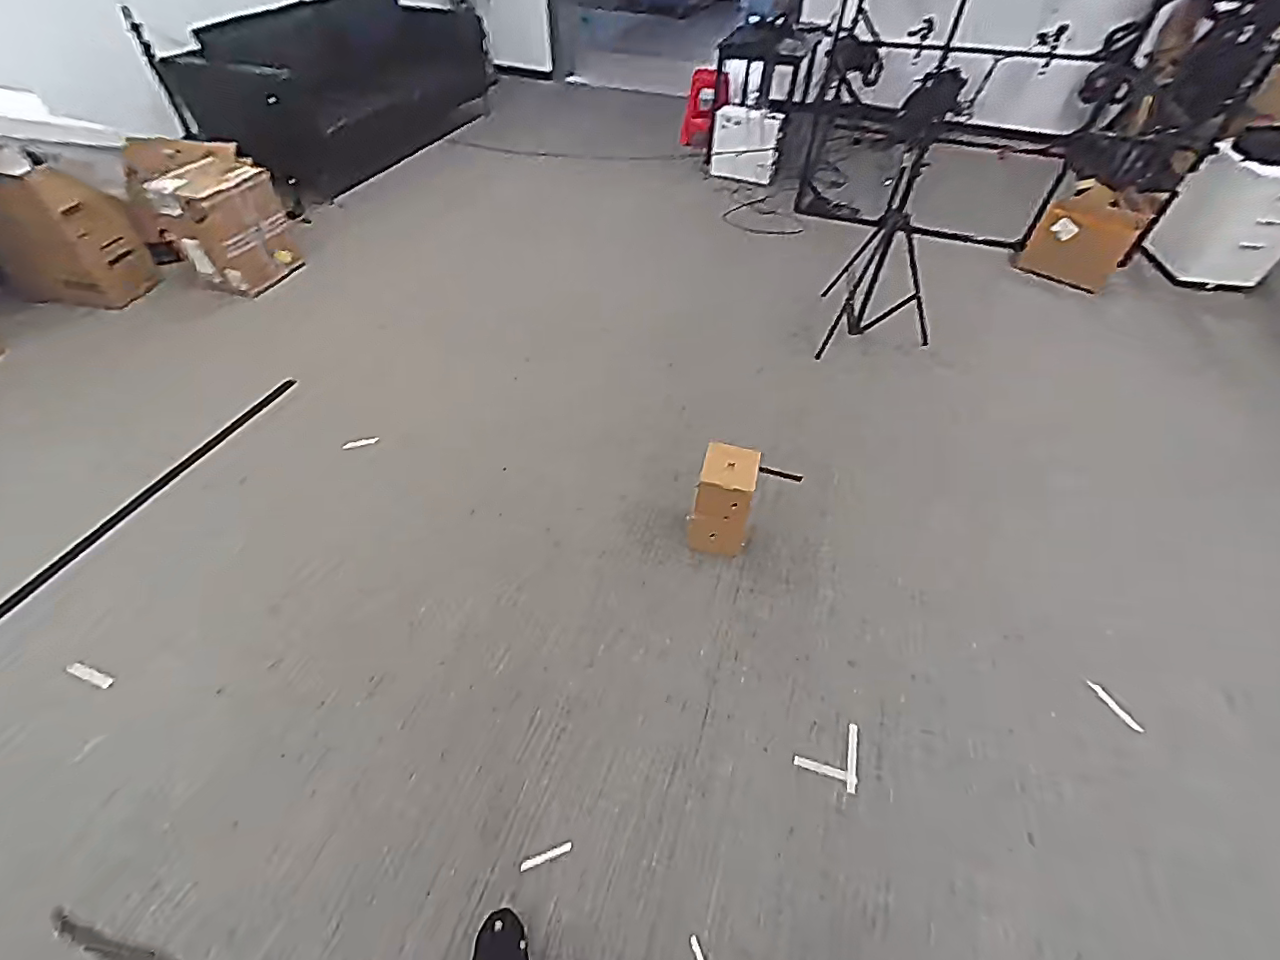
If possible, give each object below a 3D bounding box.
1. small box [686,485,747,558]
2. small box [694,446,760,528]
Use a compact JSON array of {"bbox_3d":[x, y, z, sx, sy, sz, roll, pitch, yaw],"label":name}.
[{"bbox_3d":[0.256,0.142,1.804,0.179,0.176,0.168,9,48,7],"label":"small box"},{"bbox_3d":[0.269,0.024,1.692,0.168,0.176,0.179,13,48,7],"label":"small box"}]
